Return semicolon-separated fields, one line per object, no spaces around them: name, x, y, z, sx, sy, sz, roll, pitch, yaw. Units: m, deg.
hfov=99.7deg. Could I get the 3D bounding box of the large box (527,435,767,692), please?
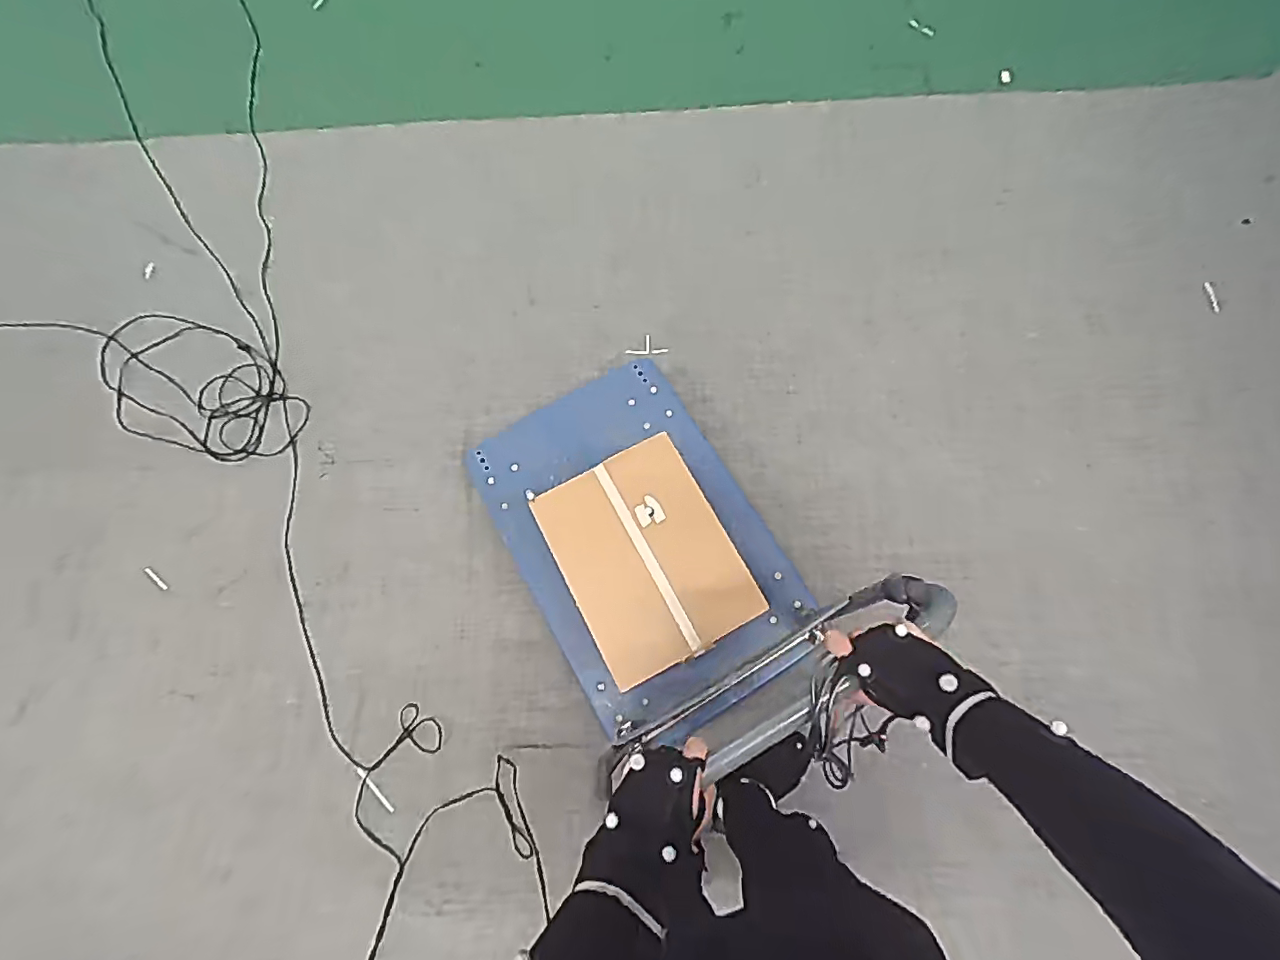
large box;0.013;0.186;1.157;0.320;0.320;0.408;-27;73;-7
